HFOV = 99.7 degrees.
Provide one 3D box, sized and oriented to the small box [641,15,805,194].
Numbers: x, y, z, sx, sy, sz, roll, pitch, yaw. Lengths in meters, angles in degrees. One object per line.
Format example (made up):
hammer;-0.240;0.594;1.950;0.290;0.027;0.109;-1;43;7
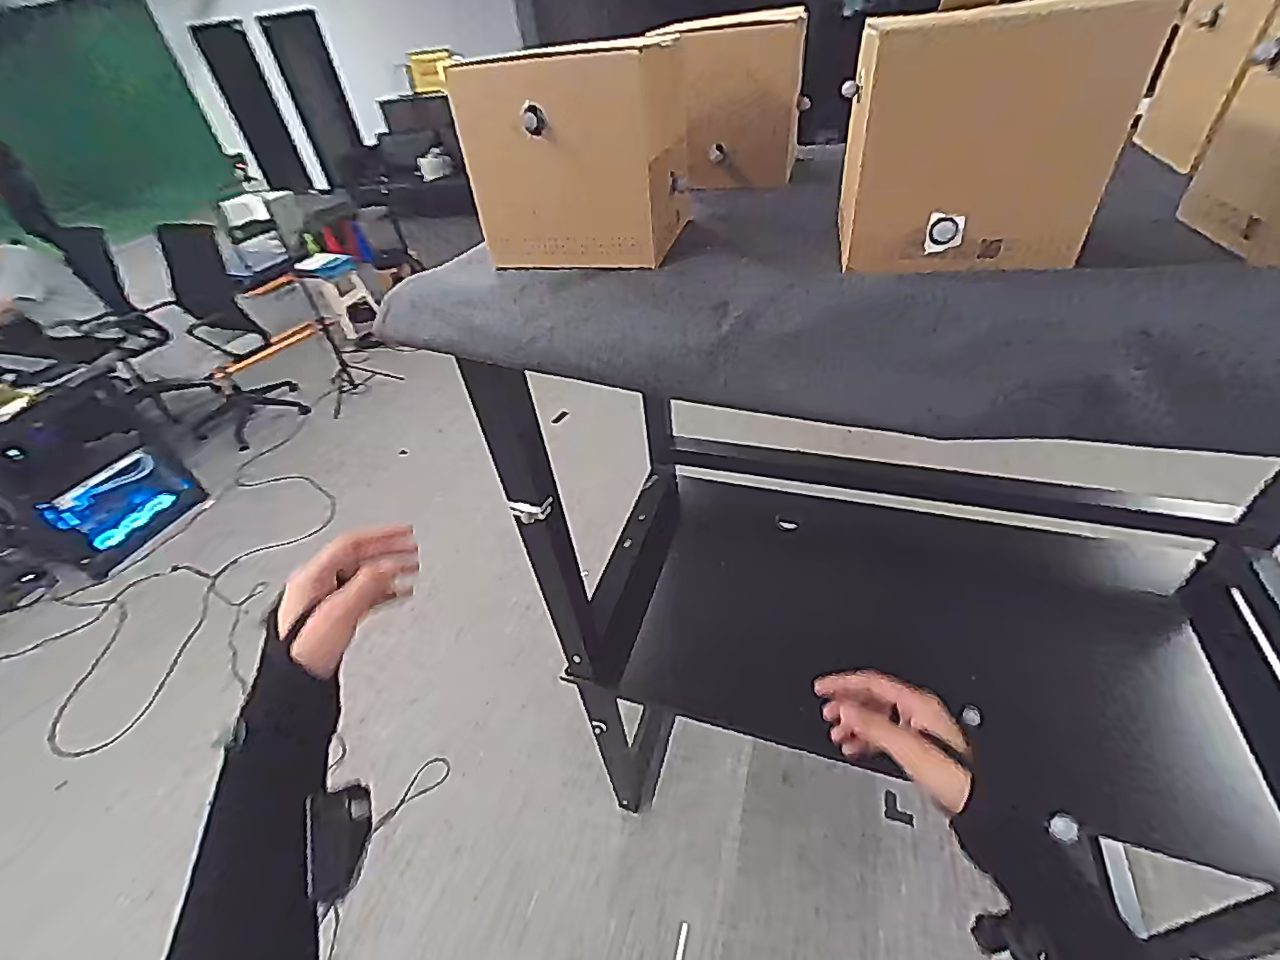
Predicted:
small box;0.112;-0.488;0.710;0.179;0.176;0.168;7;43;15

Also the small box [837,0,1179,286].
small box;0.257;-0.270;0.438;0.168;0.176;0.179;4;41;15

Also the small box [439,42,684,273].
small box;-0.058;-0.314;0.533;0.179;0.176;0.168;6;42;14

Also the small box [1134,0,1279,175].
small box;0.662;-0.420;0.548;0.168;0.176;0.179;7;43;17
